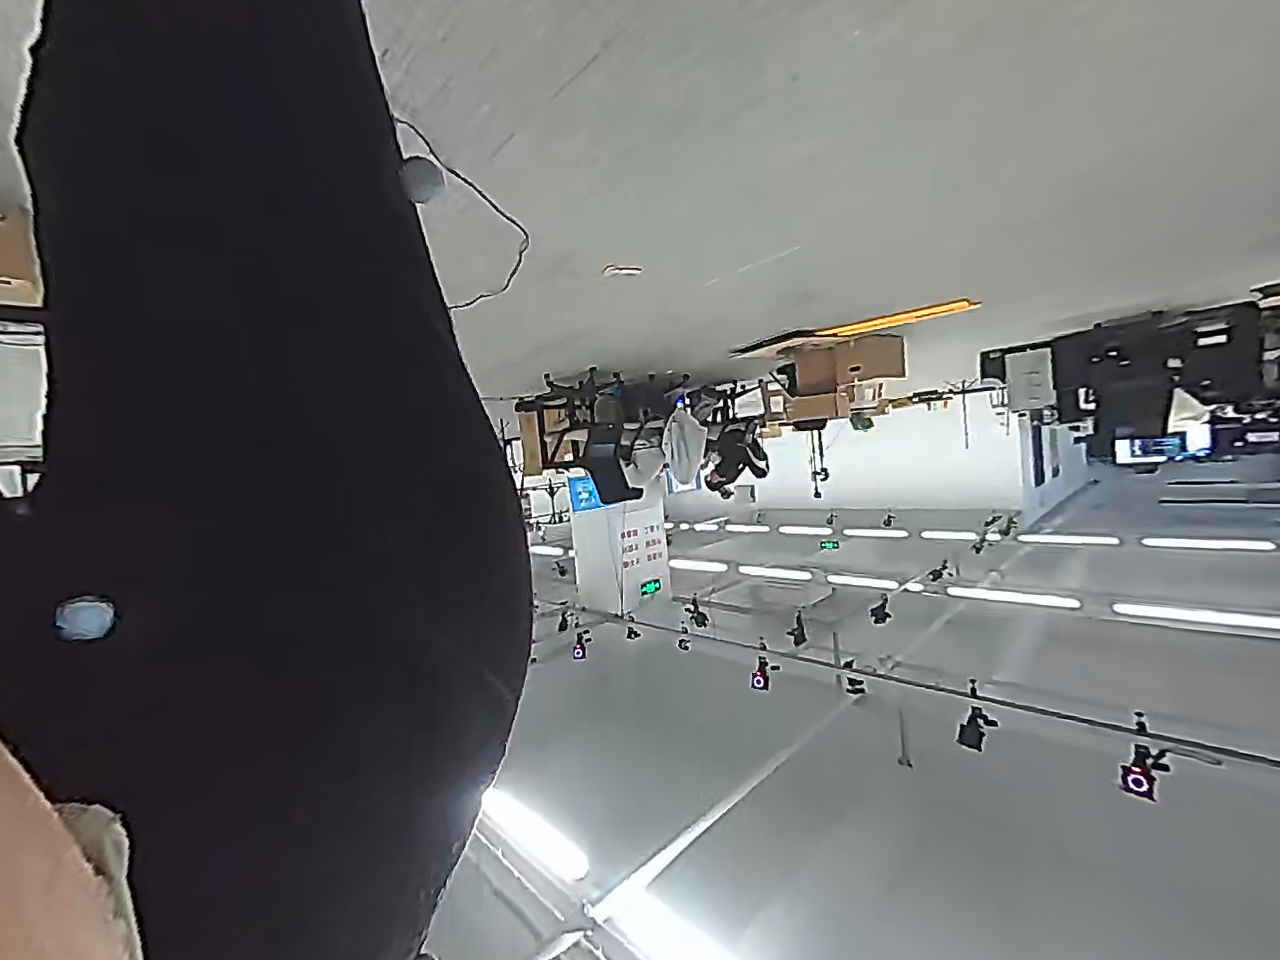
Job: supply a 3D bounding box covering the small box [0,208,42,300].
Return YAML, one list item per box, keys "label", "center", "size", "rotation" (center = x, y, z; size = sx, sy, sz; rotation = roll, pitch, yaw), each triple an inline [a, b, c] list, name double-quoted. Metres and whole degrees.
- label: "small box"
  center: [-1.491, -0.518, 1.214]
  size: [0.168, 0.176, 0.179]
  rotation: [-8, -176, -41]
